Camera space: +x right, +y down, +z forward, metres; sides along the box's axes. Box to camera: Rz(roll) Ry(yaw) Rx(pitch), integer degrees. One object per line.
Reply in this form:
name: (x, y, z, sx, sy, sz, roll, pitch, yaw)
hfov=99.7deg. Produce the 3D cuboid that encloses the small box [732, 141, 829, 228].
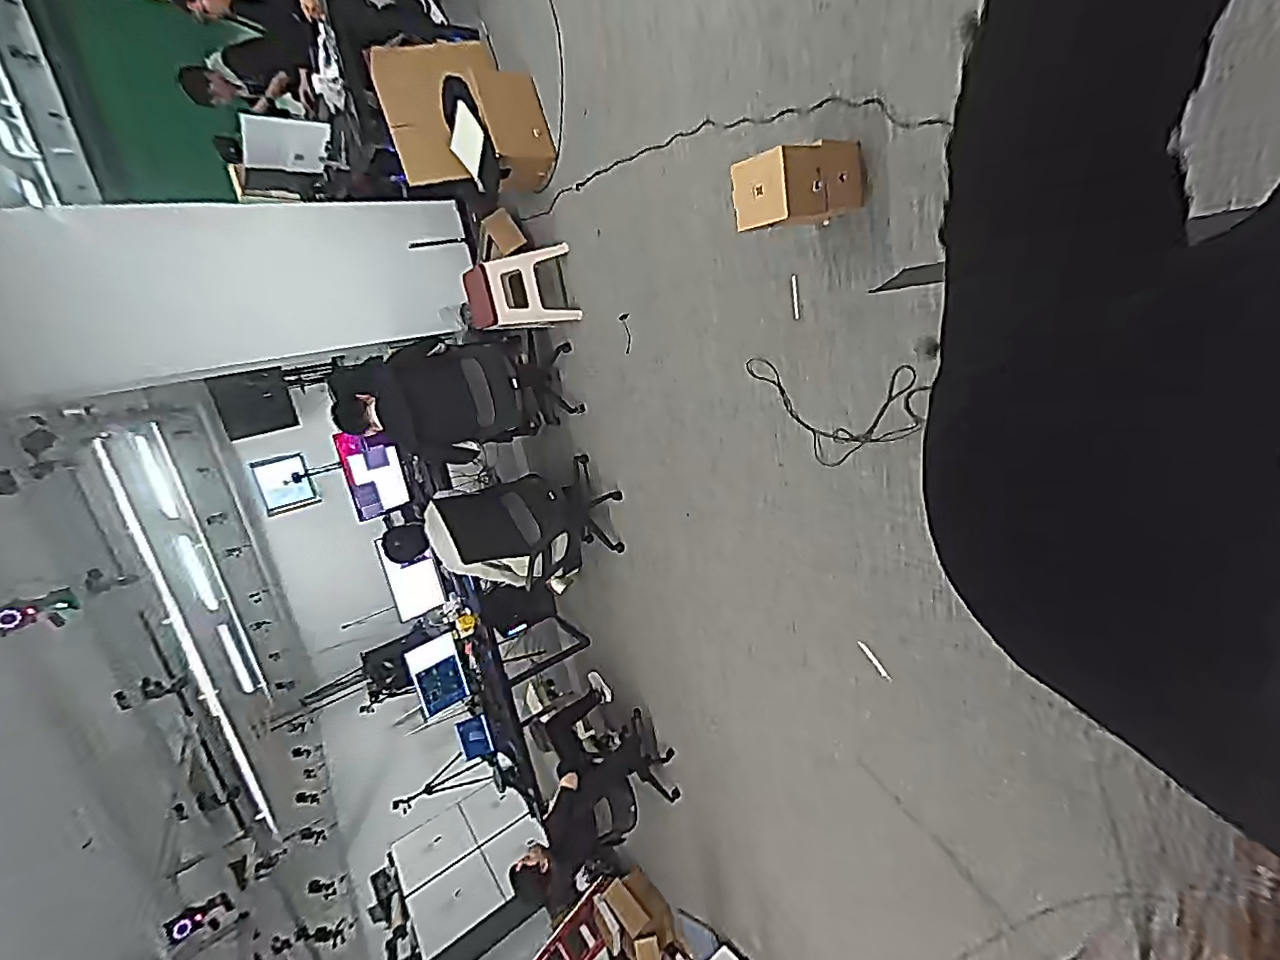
small box: (0.372, -0.775, 1.427, 0.179, 0.176, 0.168, 13, 121, 52)

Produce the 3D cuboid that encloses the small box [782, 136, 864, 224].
small box: (0.502, -0.830, 1.507, 0.168, 0.176, 0.179, 11, 118, 54)
